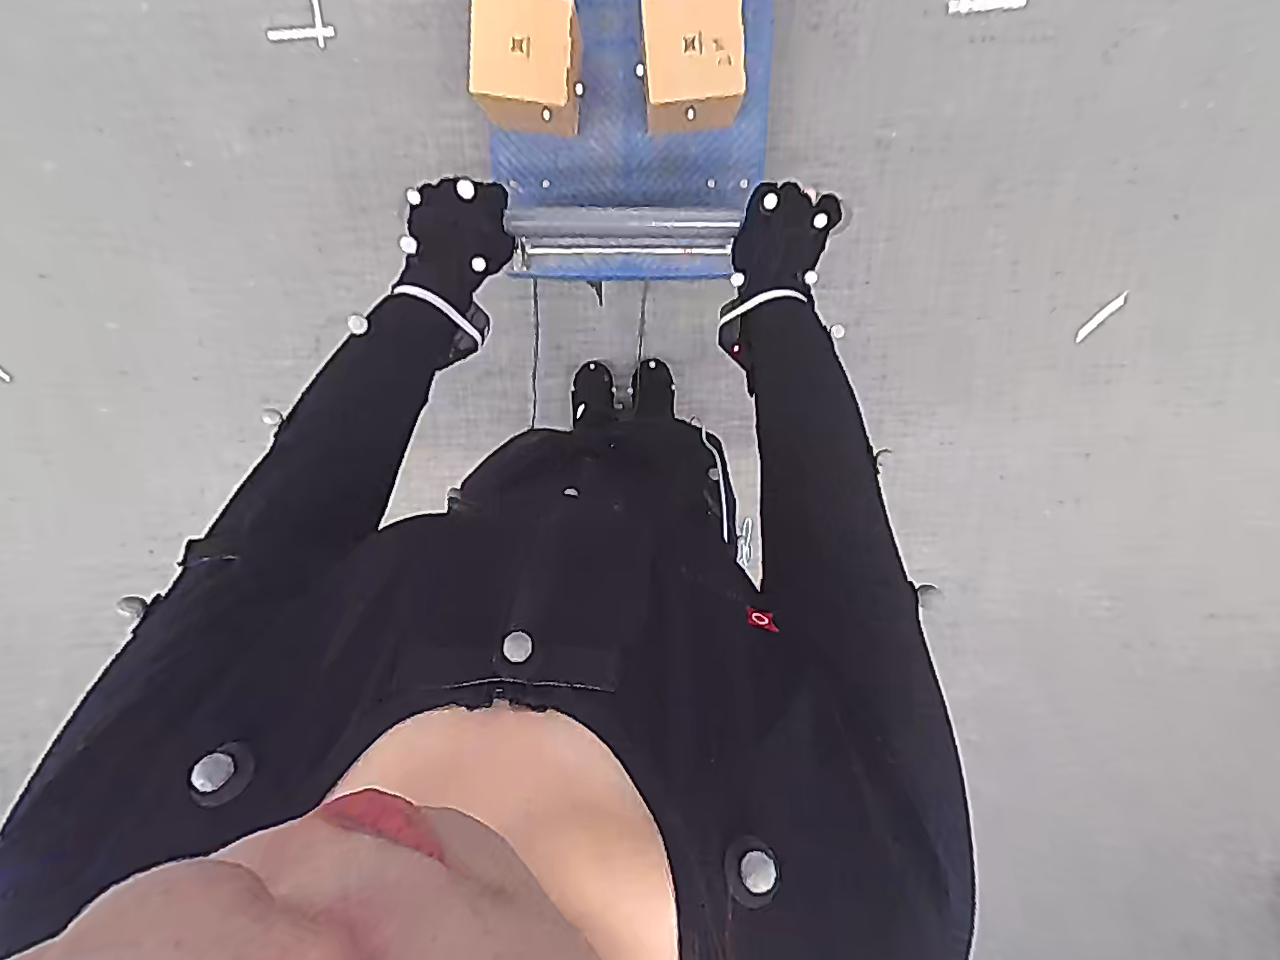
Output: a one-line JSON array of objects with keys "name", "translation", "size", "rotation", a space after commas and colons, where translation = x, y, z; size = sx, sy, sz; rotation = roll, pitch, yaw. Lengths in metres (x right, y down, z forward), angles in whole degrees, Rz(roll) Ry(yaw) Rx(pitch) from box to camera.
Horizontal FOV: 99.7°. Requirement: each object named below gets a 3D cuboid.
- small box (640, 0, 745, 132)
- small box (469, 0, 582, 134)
[{"name": "small box", "translation": [0.095, -0.778, 1.014], "size": [0.179, 0.176, 0.168], "rotation": [-5, 106, 2]}, {"name": "small box", "translation": [-0.209, -0.777, 1.017], "size": [0.179, 0.176, 0.168], "rotation": [6, 105, -3]}]
